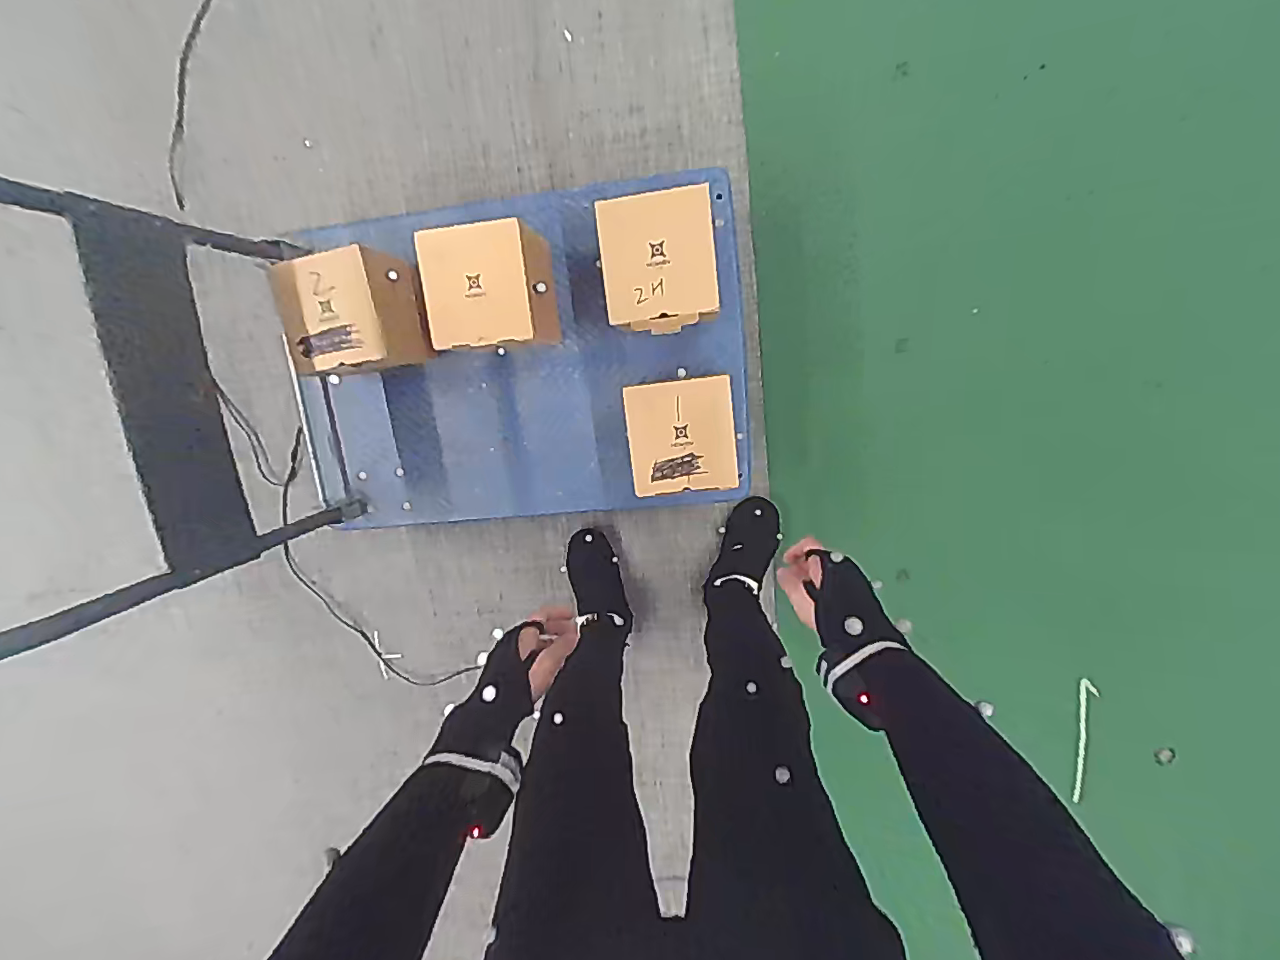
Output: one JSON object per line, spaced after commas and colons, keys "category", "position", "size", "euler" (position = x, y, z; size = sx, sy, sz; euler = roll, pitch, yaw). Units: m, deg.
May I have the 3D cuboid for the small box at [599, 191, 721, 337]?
{"category": "small box", "position": [0.037, -0.331, 0.862], "size": [0.168, 0.176, 0.179], "euler": [-5, 101, 8]}

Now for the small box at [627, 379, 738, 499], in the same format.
{"category": "small box", "position": [0.076, -0.076, 0.928], "size": [0.168, 0.176, 0.179], "euler": [-5, 100, 7]}

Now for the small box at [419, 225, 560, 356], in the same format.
{"category": "small box", "position": [-0.239, -0.304, 0.901], "size": [0.168, 0.176, 0.179], "euler": [-4, 102, 7]}
